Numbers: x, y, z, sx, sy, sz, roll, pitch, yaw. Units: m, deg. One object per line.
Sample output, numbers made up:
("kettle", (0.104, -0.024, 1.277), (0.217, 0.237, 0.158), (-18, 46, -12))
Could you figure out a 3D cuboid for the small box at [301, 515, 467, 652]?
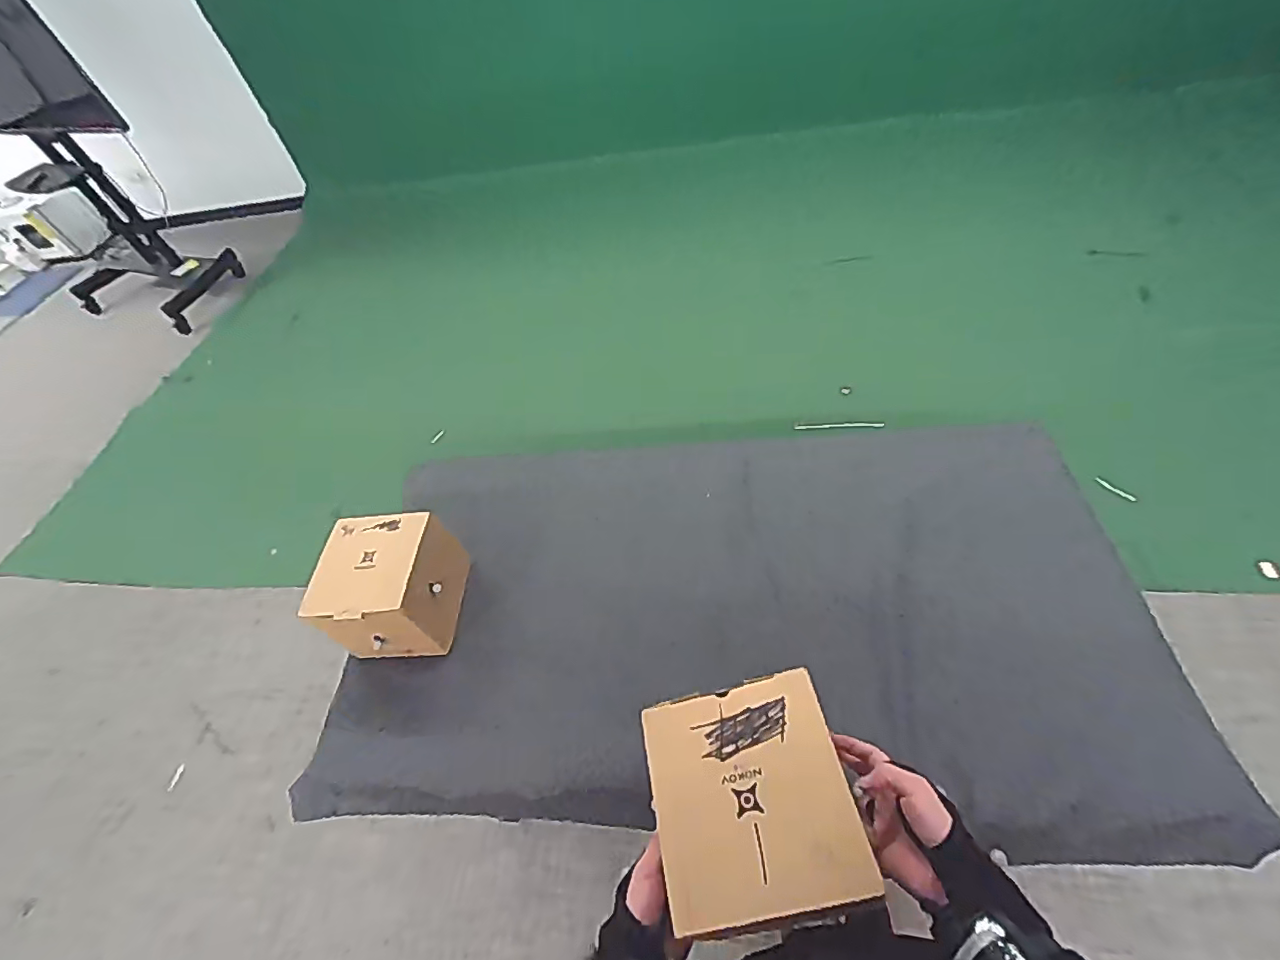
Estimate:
("small box", (-0.405, 0.178, 0.893), (0.168, 0.176, 0.179), (-4, 53, 7))
